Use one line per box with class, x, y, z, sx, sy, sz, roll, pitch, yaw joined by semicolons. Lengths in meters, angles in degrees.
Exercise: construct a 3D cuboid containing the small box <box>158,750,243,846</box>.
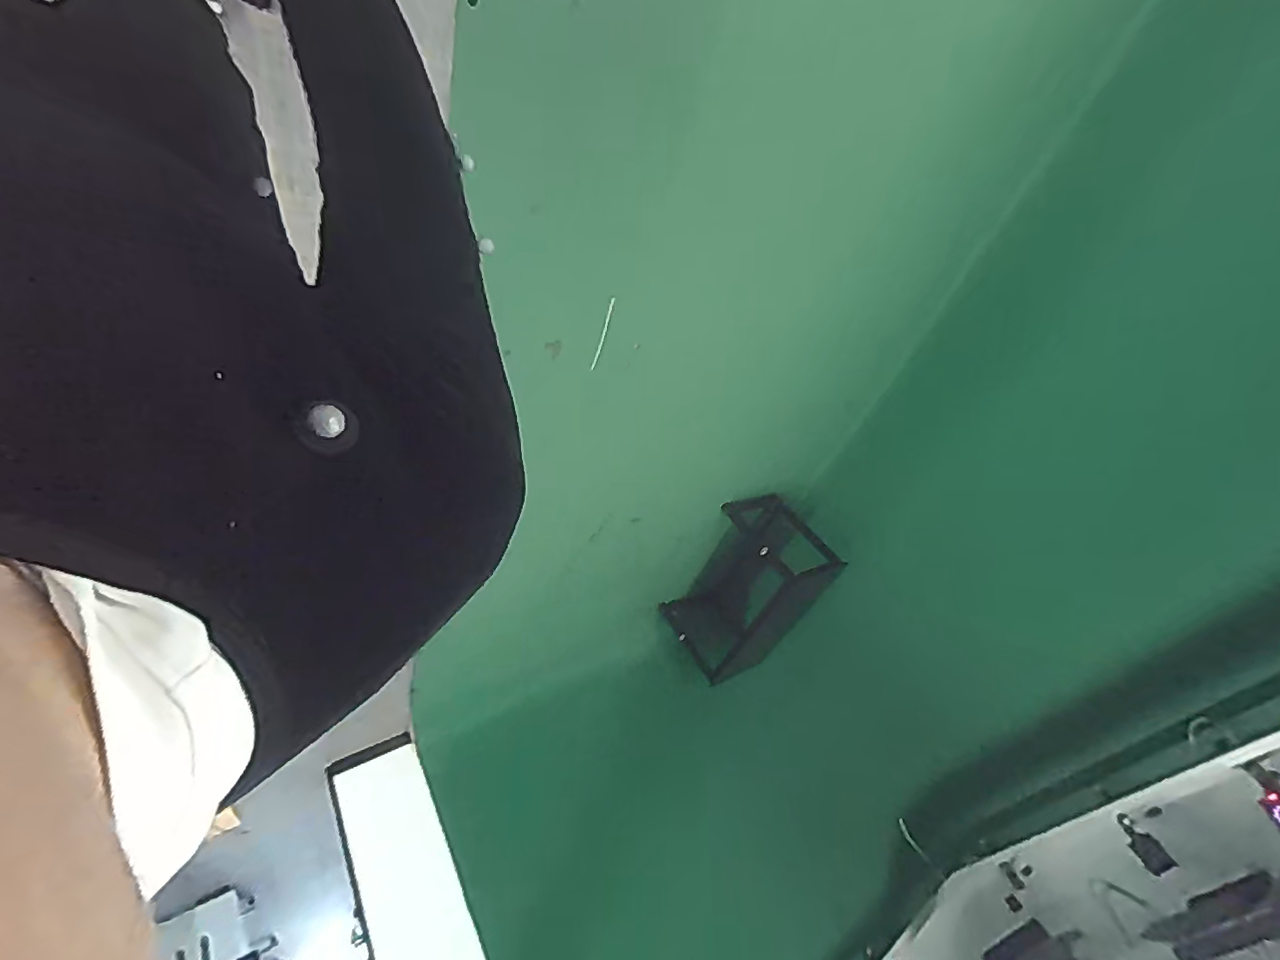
small box;-1.307;0.937;1.608;0.168;0.176;0.179;-13;139;-33
